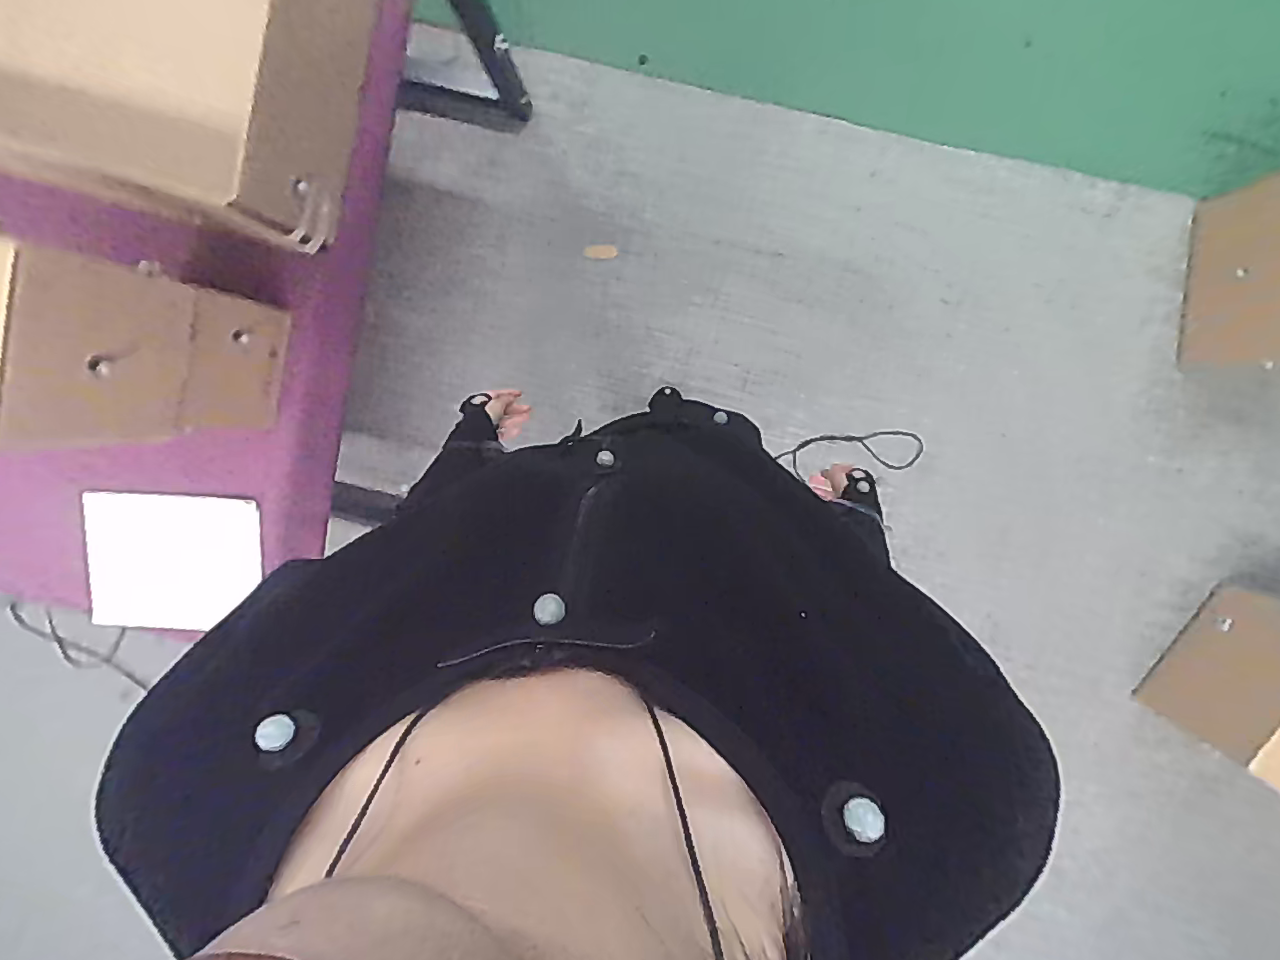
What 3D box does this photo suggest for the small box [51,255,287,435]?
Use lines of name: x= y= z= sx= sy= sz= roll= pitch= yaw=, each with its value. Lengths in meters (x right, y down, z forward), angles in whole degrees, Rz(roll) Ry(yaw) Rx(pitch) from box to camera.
small box: x=-0.596 y=-0.161 z=0.690 sx=0.179 sy=0.176 sz=0.168 roll=15 pitch=97 yaw=1

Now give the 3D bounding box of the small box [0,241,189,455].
small box: x=-0.594 y=-0.134 z=0.528 sx=0.168 sy=0.176 sz=0.179 roll=15 pitch=97 yaw=1

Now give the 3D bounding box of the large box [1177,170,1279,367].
large box: x=1.537 y=-0.481 z=1.236 sx=0.320 sy=0.320 sz=0.408 roll=-1 pitch=96 yaw=2
